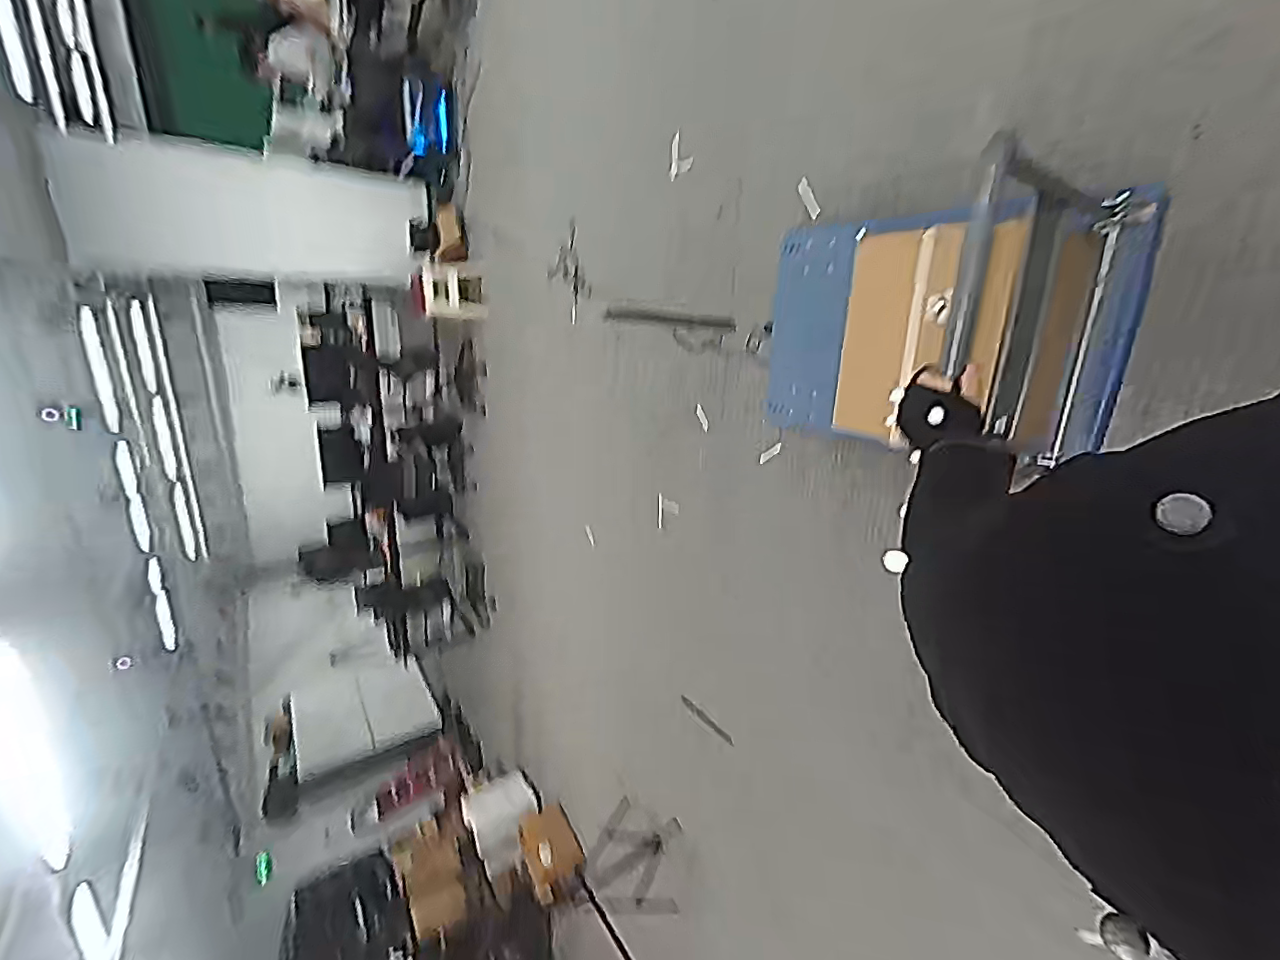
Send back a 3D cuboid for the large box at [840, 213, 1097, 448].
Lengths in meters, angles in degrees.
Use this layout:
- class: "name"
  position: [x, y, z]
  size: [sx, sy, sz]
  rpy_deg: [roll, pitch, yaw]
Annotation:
- class: "large box"
  position: [0.668, -0.302, 1.131]
  size: [0.320, 0.320, 0.408]
  rpy_deg: [25, 118, 51]
